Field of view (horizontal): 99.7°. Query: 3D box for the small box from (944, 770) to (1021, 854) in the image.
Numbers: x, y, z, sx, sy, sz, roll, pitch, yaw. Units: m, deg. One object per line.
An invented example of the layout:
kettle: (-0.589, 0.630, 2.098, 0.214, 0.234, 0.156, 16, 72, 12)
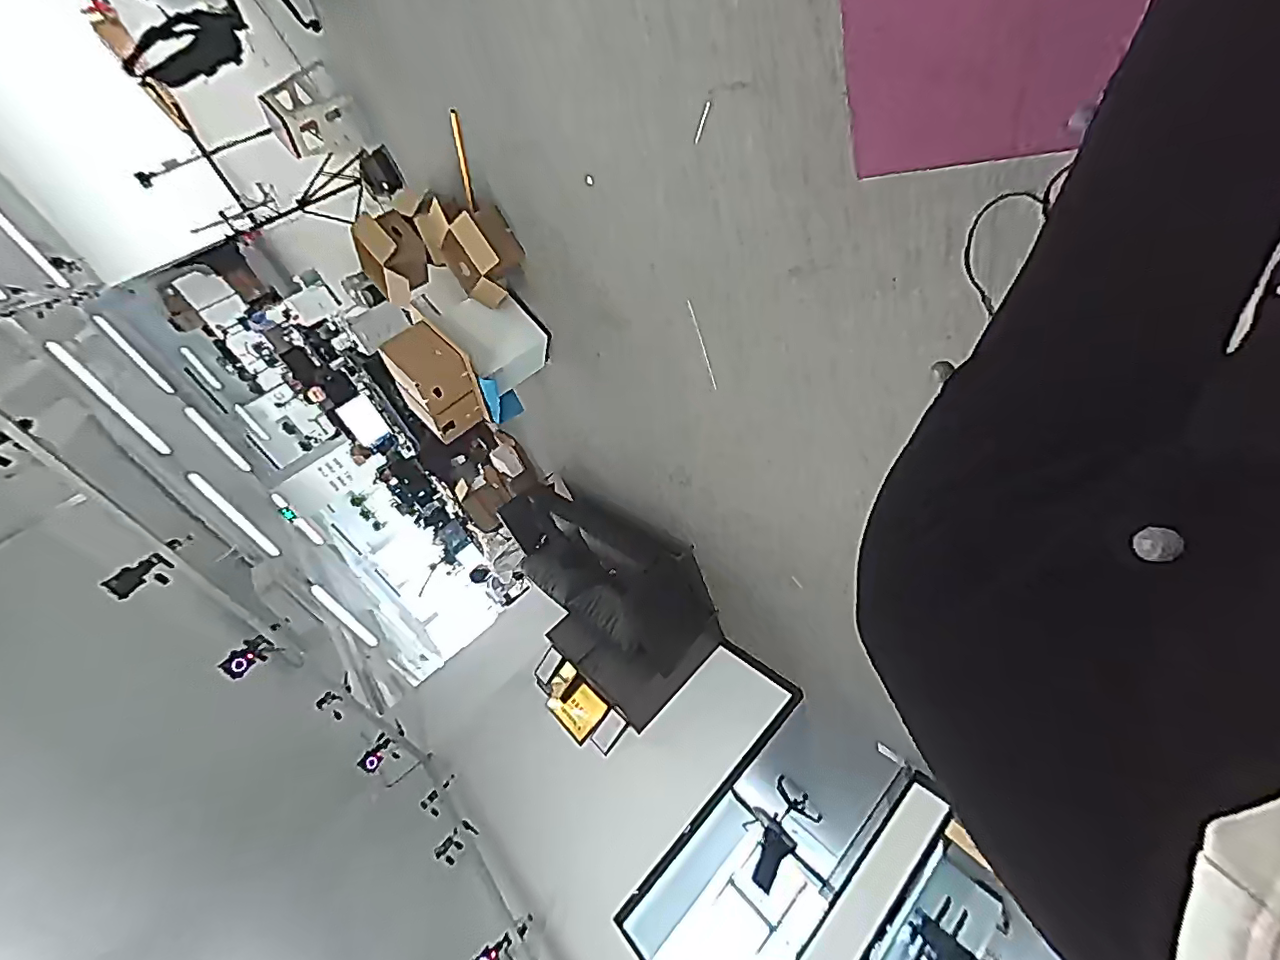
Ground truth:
small box: (1.204, 1.165, 1.901, 0.168, 0.176, 0.179, 30, 151, 38)
